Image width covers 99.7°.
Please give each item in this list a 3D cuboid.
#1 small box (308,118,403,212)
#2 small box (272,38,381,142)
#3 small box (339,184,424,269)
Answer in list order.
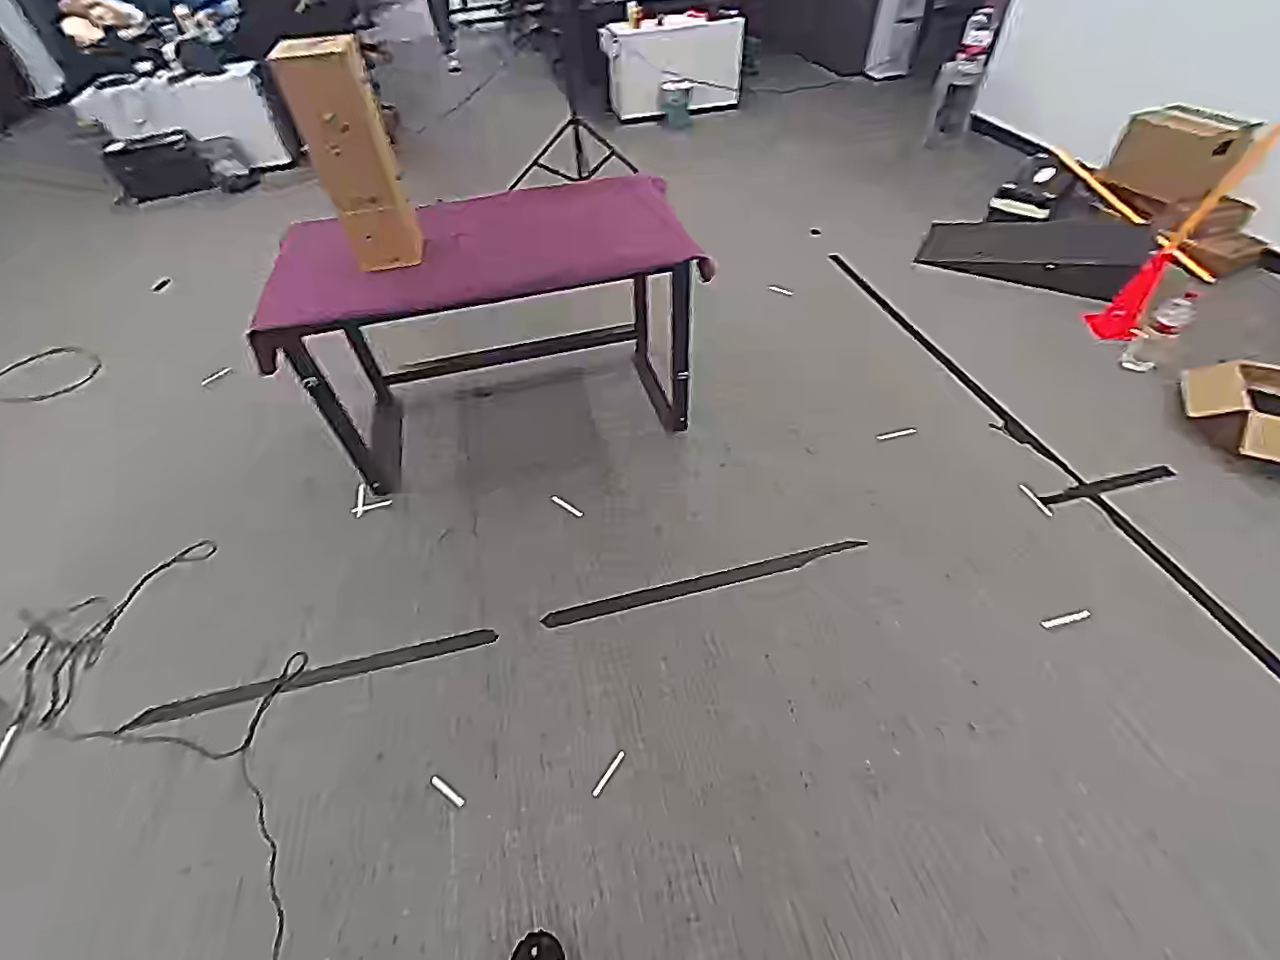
[{"bbox_3d":[-0.741,-0.833,1.431,0.168,0.176,0.179,-12,49,-7],"label":"small box"},{"bbox_3d":[-0.744,-0.941,1.305,0.168,0.176,0.179,-12,50,-7],"label":"small box"},{"bbox_3d":[-0.732,-0.721,1.550,0.168,0.176,0.179,-12,49,-7],"label":"small box"}]
